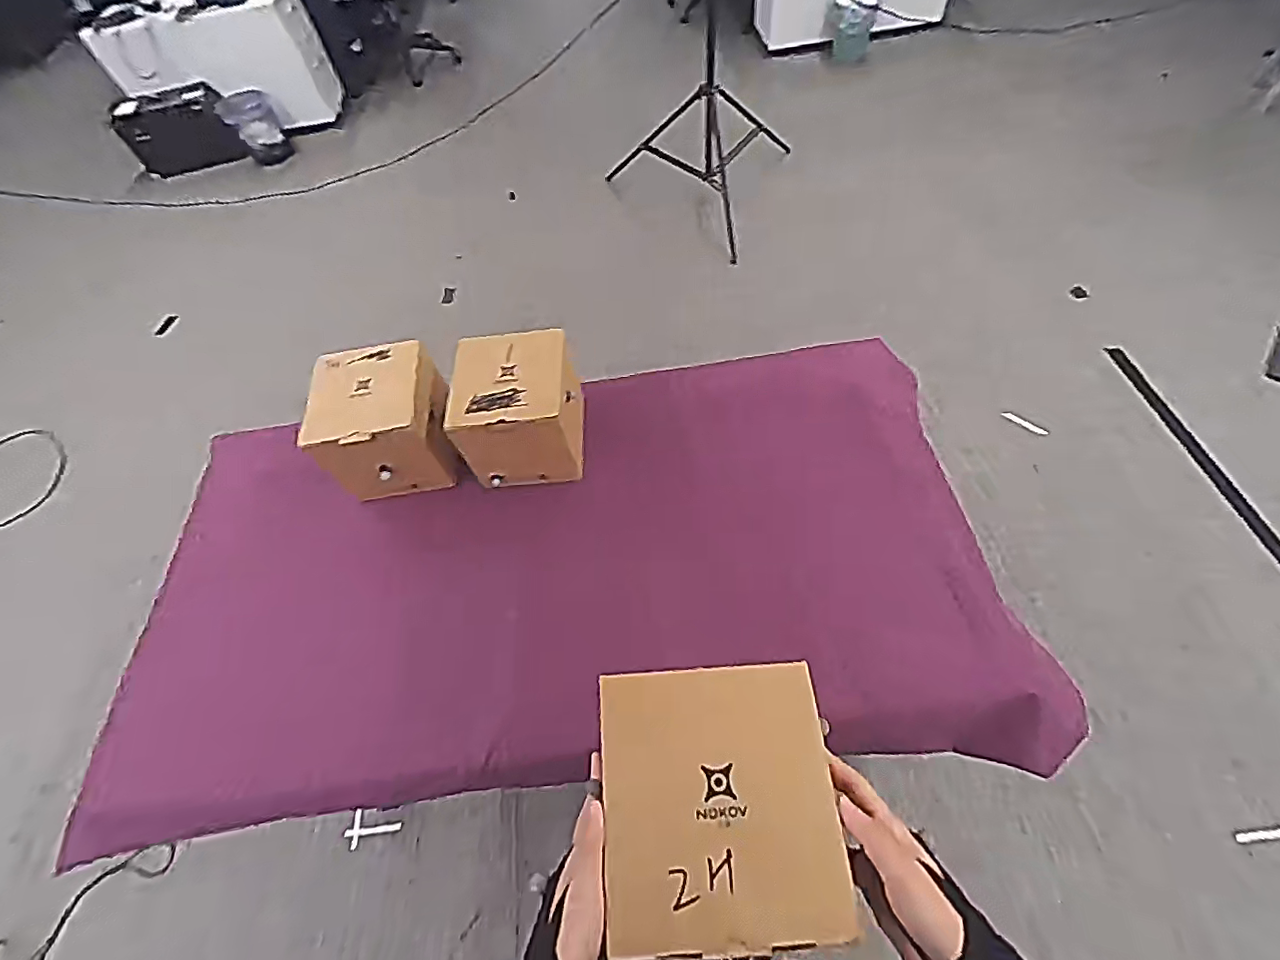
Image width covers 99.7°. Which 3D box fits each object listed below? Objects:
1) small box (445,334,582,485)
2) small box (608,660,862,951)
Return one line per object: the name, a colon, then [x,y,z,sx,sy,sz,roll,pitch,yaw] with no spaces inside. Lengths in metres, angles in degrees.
small box: [-0.187,-0.103,0.856,0.168,0.176,0.179,-5,58,3]
small box: [0.059,0.262,0.455,0.168,0.176,0.179,-3,60,0]
